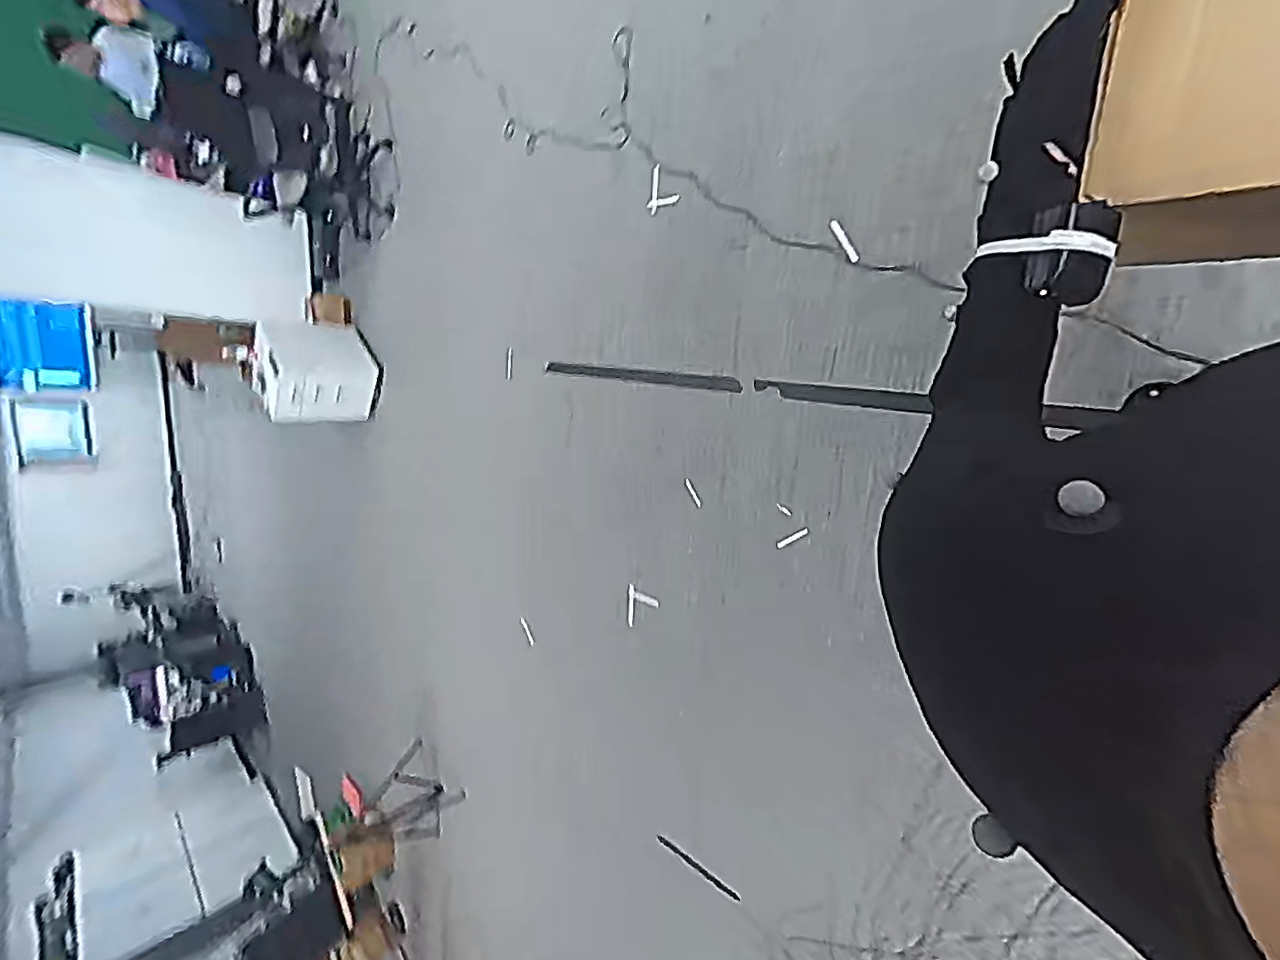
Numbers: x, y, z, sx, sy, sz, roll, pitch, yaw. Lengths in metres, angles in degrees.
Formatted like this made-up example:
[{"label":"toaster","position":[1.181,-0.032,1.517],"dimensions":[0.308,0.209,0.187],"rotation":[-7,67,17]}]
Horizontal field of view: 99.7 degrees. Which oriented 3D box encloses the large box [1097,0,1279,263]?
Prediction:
[{"label":"large box","position":[0.597,-0.345,0.355],"dimensions":[0.408,0.320,0.320],"rotation":[15,108,42]}]
